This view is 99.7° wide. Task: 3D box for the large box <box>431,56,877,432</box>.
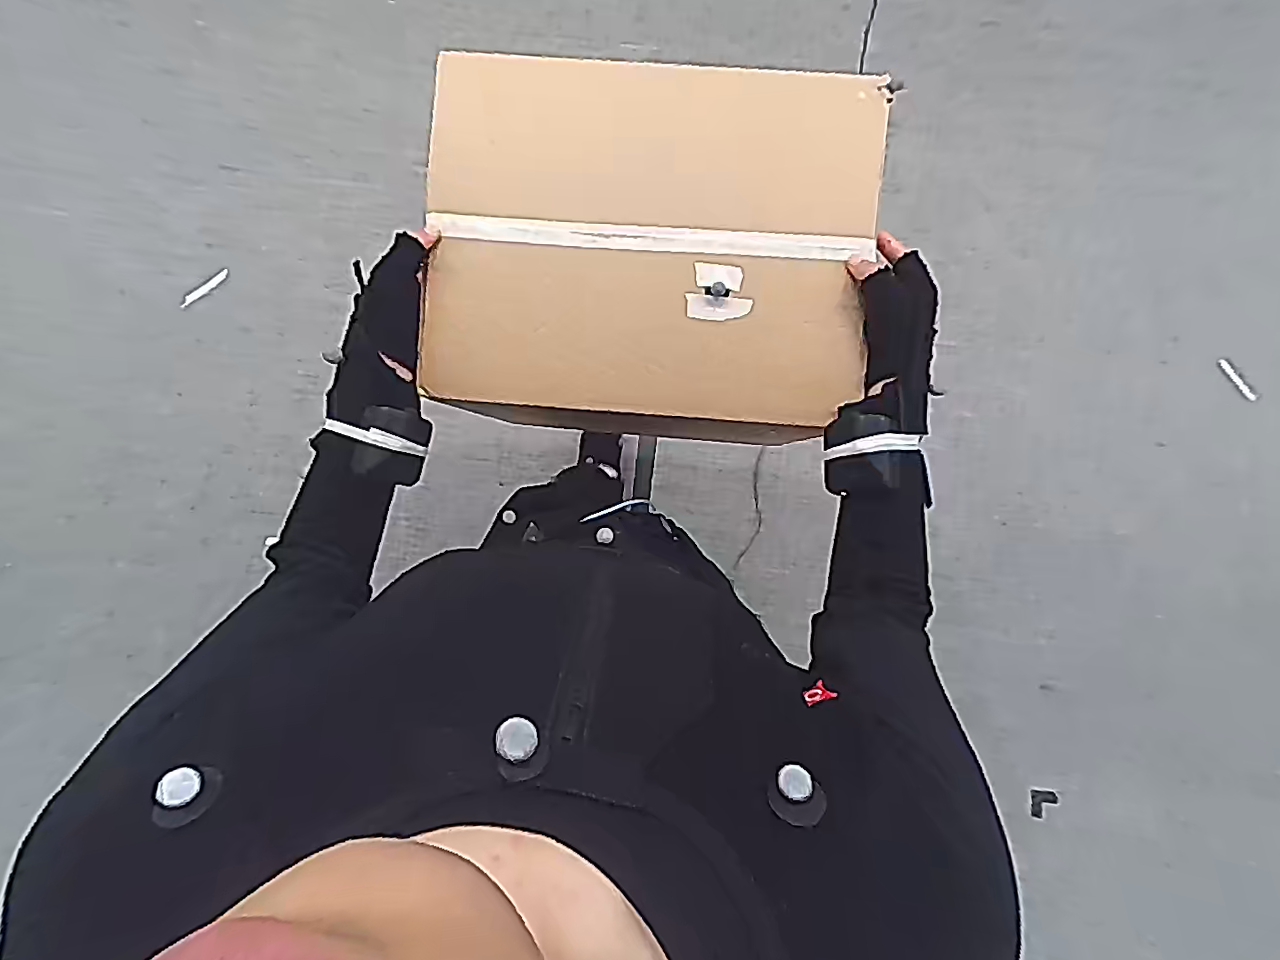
[{"bbox_3d":[0.011,-0.232,0.650,0.408,0.320,0.320,5,93,1],"label":"large box"}]
